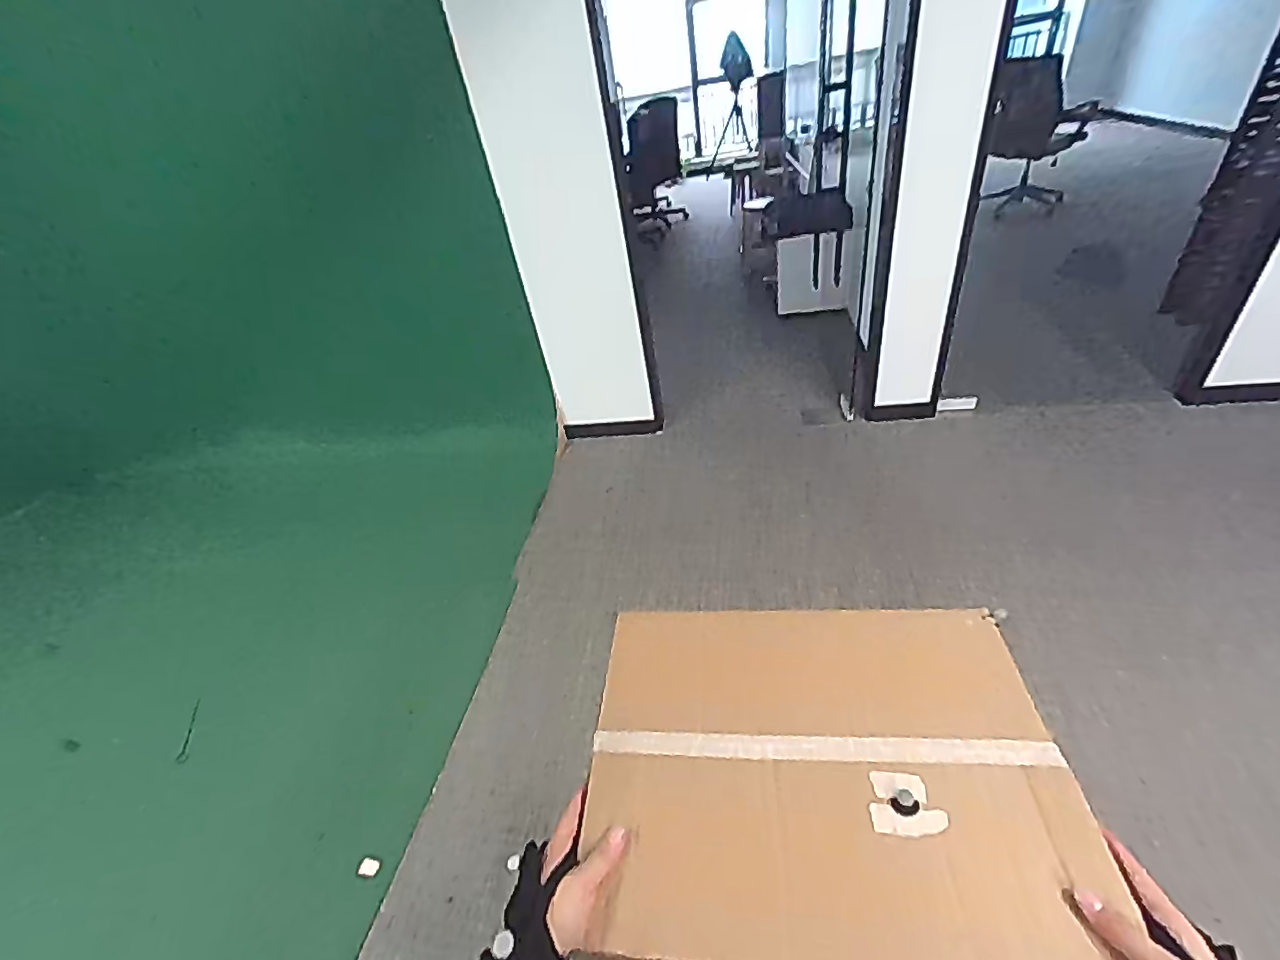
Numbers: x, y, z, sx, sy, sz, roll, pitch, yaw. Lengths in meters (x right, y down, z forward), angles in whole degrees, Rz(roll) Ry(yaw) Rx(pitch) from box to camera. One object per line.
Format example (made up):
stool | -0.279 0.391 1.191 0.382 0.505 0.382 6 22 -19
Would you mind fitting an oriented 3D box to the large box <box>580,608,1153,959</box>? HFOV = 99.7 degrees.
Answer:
large box | 0.178 0.360 0.590 0.408 0.320 0.320 -2 39 9
